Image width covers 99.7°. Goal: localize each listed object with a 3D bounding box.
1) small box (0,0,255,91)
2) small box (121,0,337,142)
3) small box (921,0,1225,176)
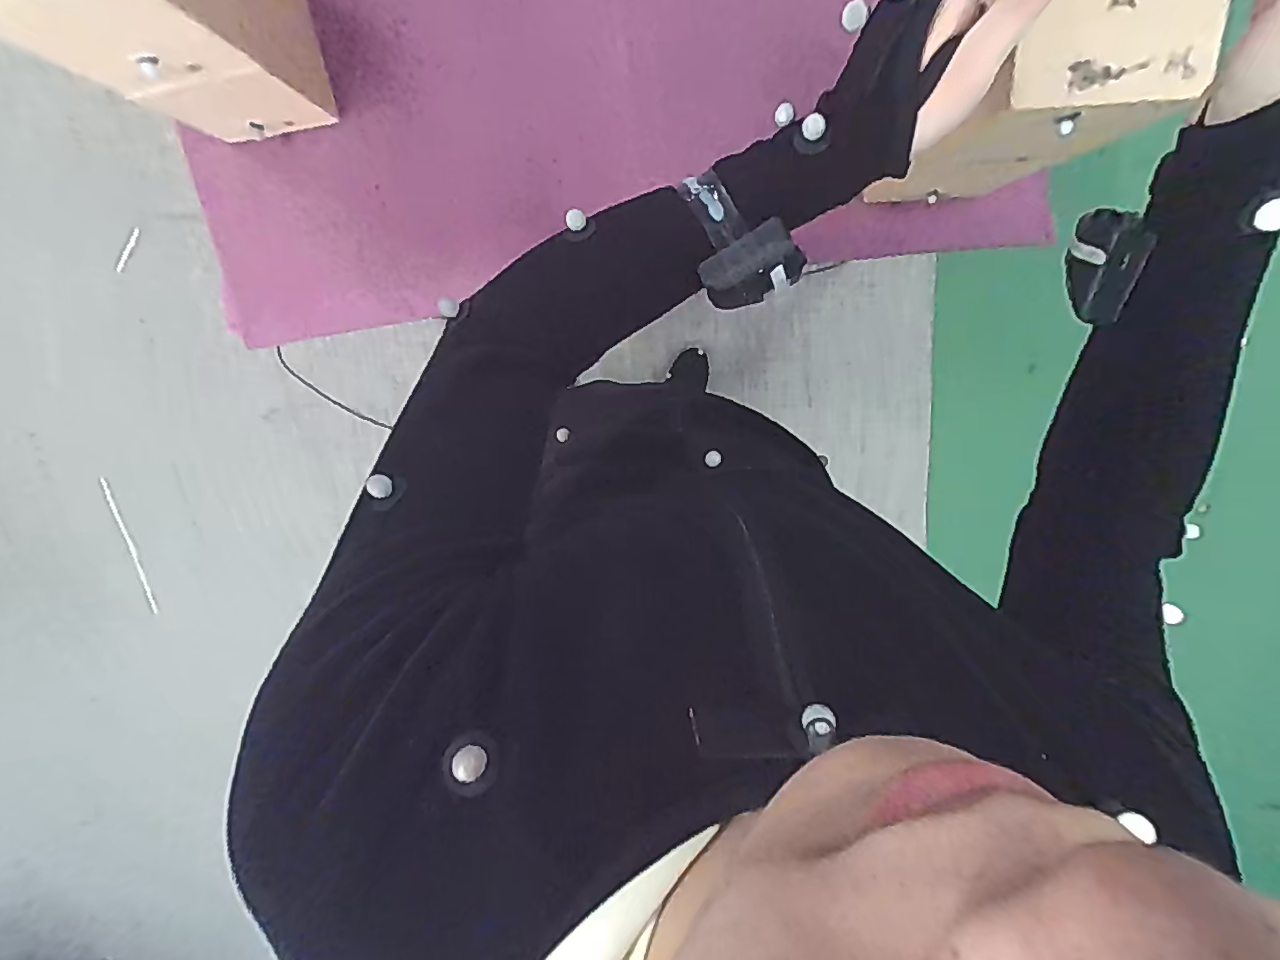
[{"bbox_3d":[-0.517,-0.511,0.507,0.168,0.176,0.179,-8,105,4],"label":"small box"},{"bbox_3d":[-0.514,-0.553,0.666,0.168,0.176,0.179,-8,105,4],"label":"small box"},{"bbox_3d":[0.390,-0.413,0.514,0.168,0.176,0.179,-1,103,3],"label":"small box"}]
